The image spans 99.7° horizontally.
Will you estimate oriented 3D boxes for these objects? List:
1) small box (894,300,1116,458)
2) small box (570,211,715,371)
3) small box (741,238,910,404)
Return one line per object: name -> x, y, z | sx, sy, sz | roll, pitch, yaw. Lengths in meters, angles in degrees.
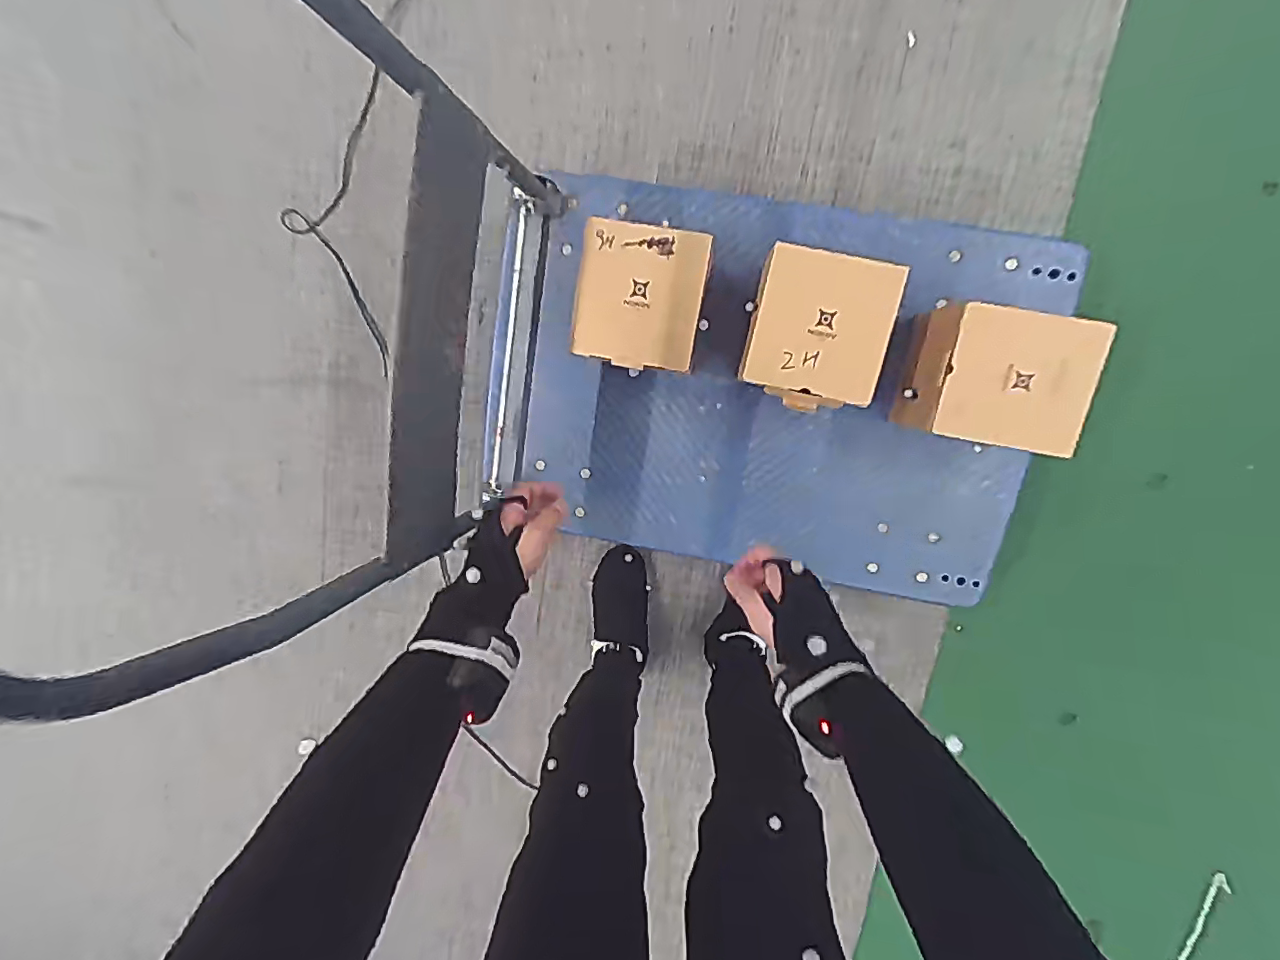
small box -> 0.476, -0.137, 0.742 | 0.179, 0.176, 0.168 | 12, 103, 5
small box -> 0.011, -0.259, 0.777 | 0.168, 0.176, 0.179 | 12, 103, 5
small box -> 0.242, -0.213, 0.757 | 0.168, 0.176, 0.179 | 14, 102, 5
